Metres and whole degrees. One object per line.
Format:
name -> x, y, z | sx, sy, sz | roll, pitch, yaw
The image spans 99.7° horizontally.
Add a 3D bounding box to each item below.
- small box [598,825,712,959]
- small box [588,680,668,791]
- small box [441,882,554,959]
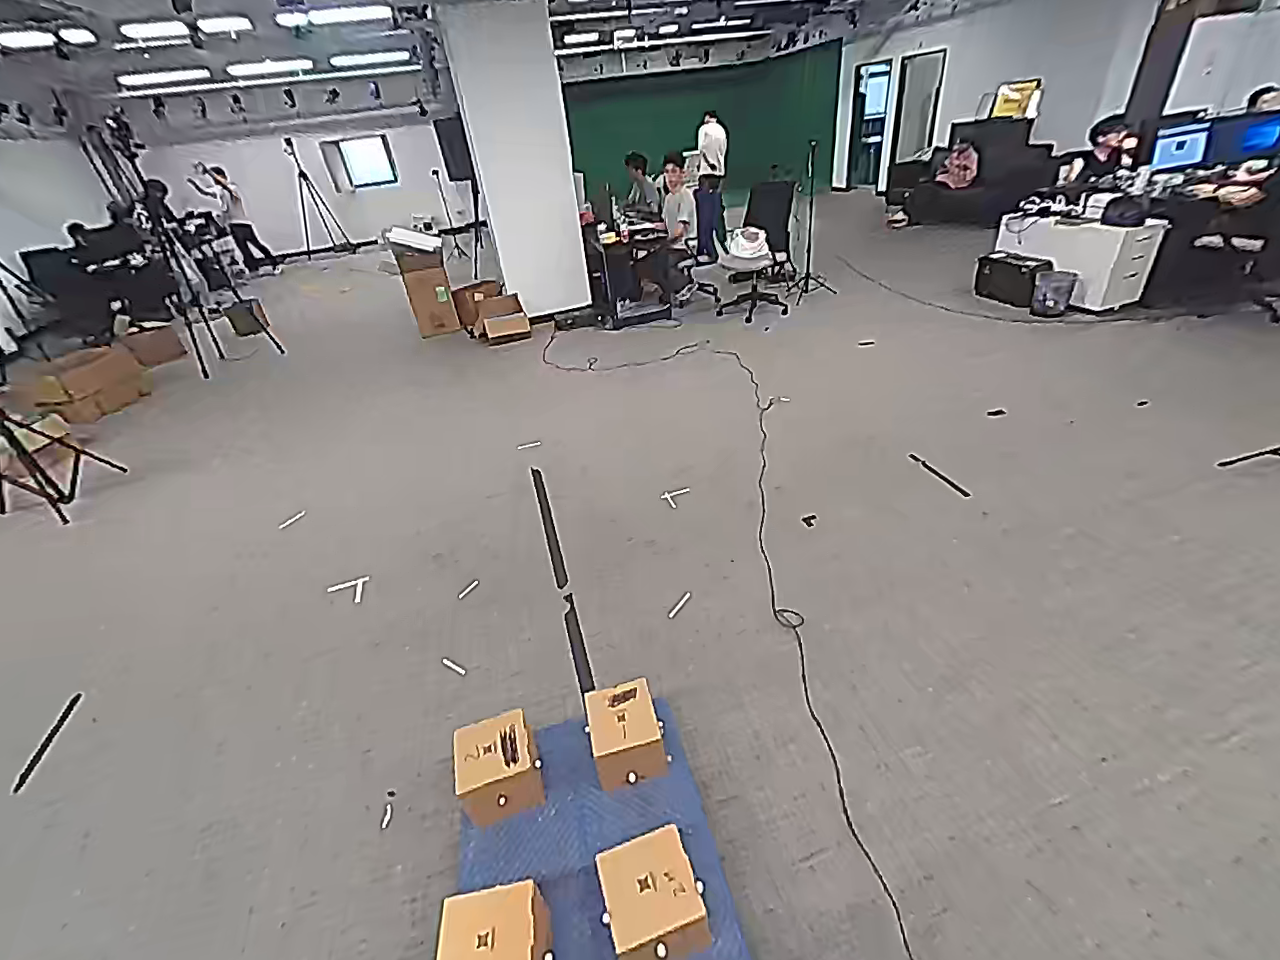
small box -> 0.031, 0.838, 1.073 | 0.179, 0.176, 0.168 | -16, 34, -11
small box -> -0.032, 0.647, 1.373 | 0.168, 0.176, 0.179 | -13, 35, -7
small box -> -0.266, 0.911, 1.029 | 0.179, 0.176, 0.168 | -10, 33, -5
